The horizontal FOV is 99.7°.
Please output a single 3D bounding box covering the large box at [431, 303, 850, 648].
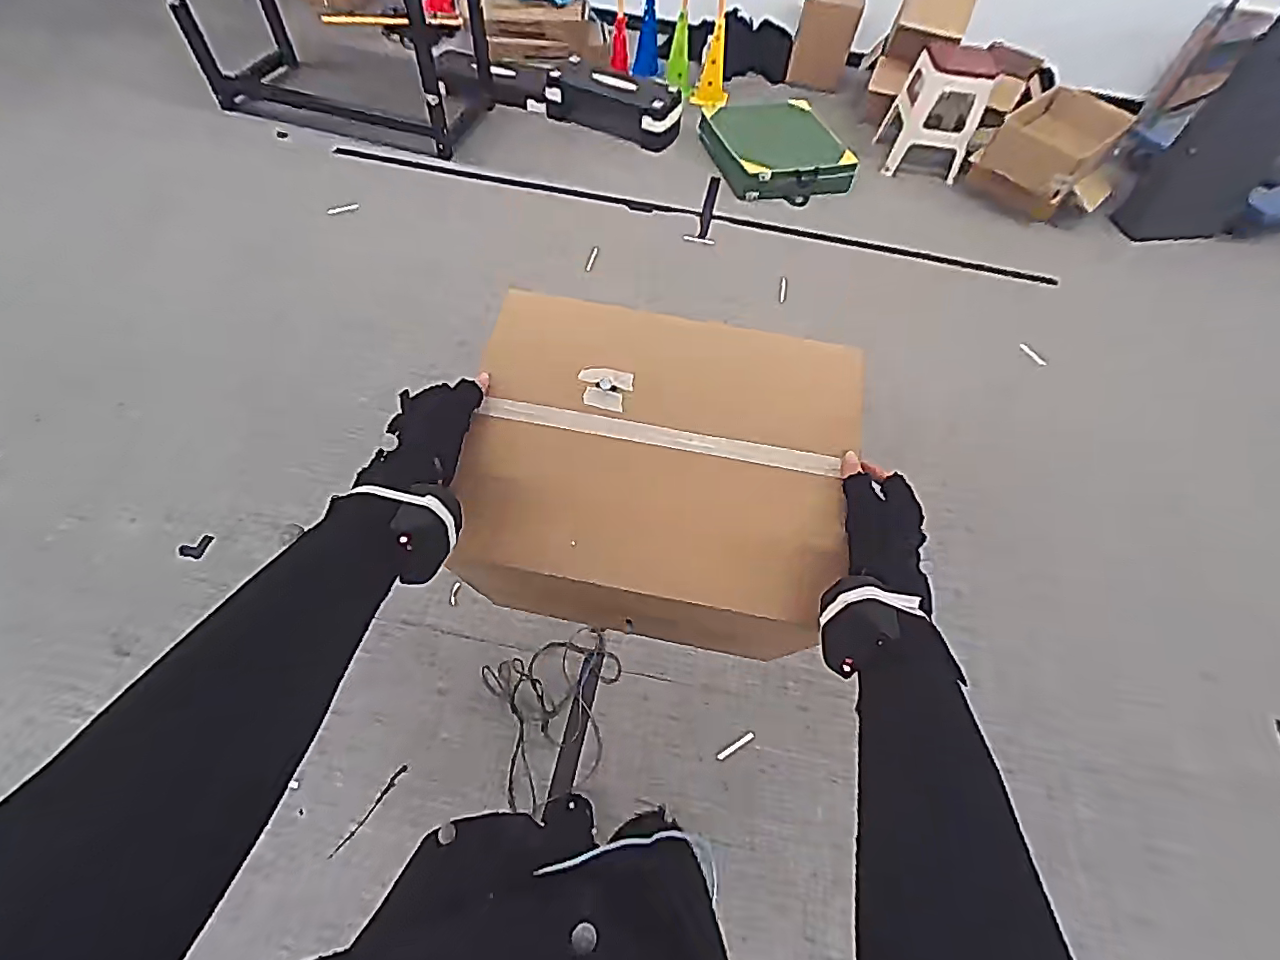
[{"bbox_3d":[0.018,0.017,0.705,0.408,0.320,0.320,11,66,4],"label":"large box"}]
